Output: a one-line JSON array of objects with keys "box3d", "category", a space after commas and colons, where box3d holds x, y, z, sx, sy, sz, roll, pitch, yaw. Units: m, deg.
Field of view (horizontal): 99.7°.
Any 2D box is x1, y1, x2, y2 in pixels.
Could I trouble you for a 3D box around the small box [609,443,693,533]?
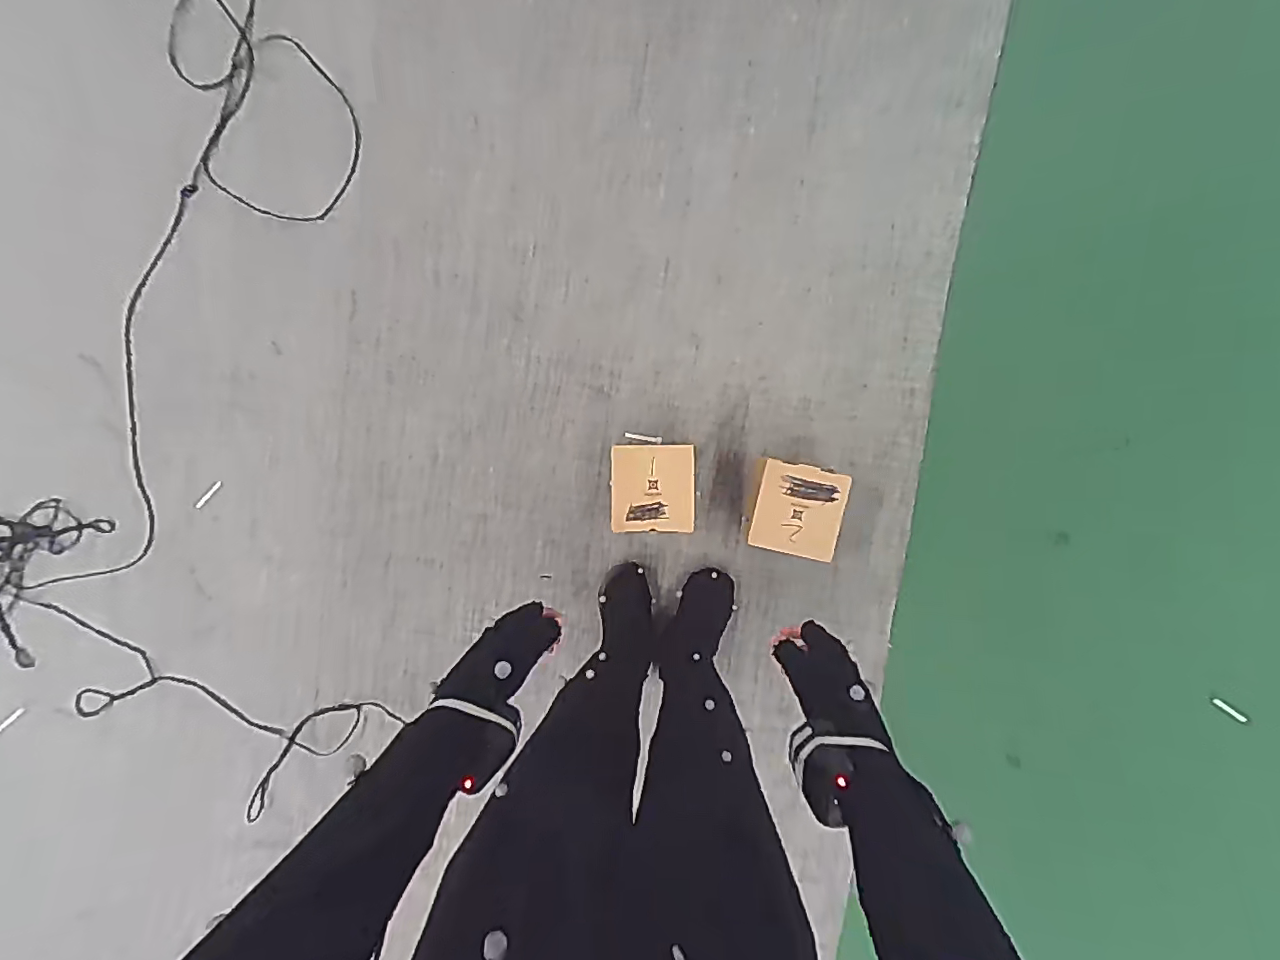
[{"box3d": [0.029, 0.011, 1.144, 0.168, 0.176, 0.179, 0, 93, 6], "category": "small box"}]
